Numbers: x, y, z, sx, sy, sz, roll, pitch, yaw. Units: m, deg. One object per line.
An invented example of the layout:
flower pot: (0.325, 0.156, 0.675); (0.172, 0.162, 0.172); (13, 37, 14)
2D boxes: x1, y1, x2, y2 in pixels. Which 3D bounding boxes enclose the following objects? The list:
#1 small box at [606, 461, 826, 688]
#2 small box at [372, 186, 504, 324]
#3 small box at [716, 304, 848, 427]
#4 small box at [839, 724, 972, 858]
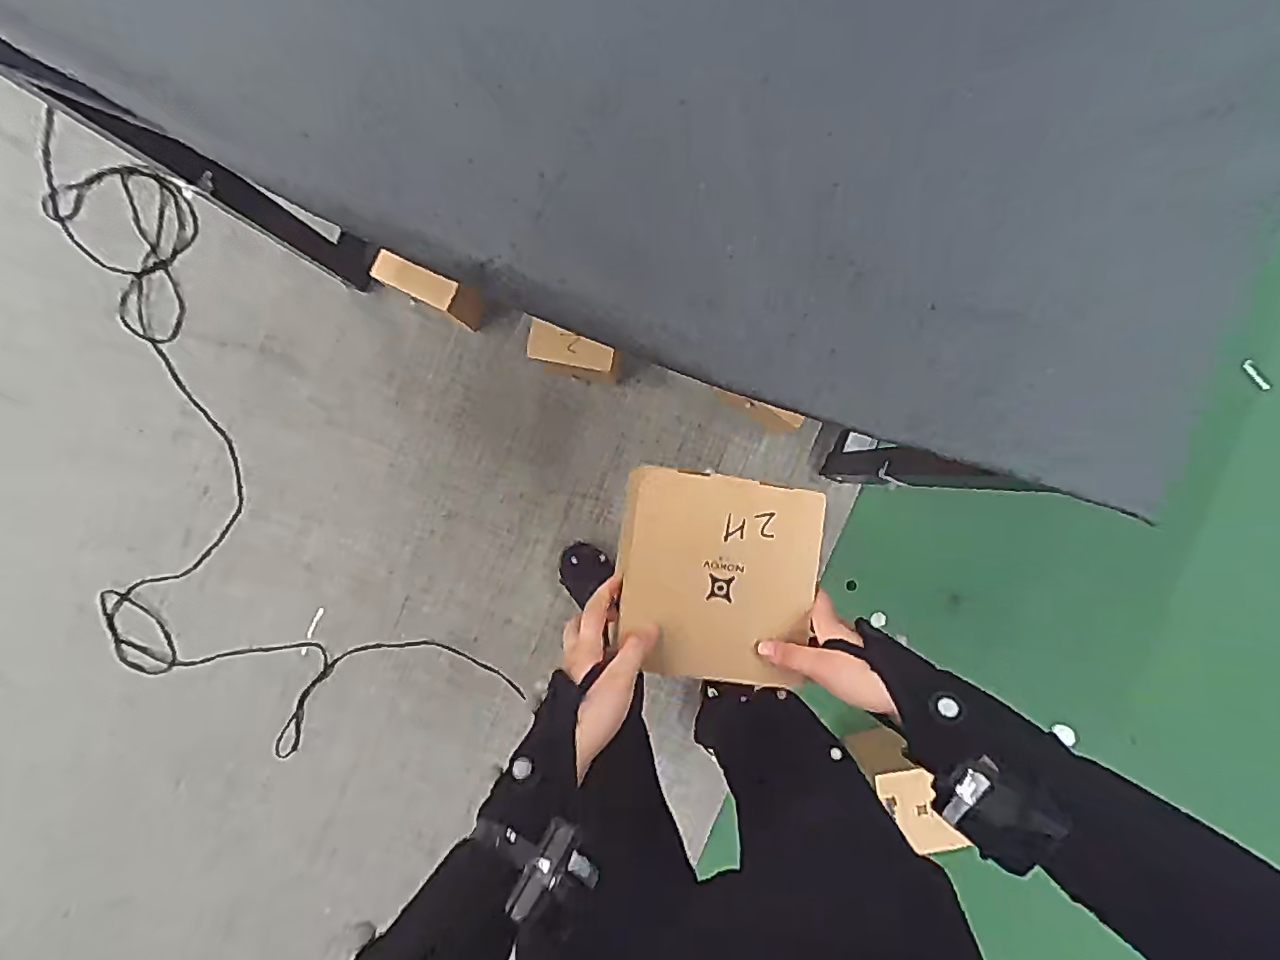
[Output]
small box: (0.063, 0.080, 0.544); (0.168, 0.176, 0.179); (10, 91, -4)
small box: (-0.397, -0.443, 1.098); (0.168, 0.176, 0.179); (27, 91, 1)
small box: (0.272, -0.217, 1.087); (0.179, 0.176, 0.168); (35, 92, -2)
small box: (0.532, 0.621, 1.103); (0.179, 0.176, 0.168); (-10, 91, 1)
